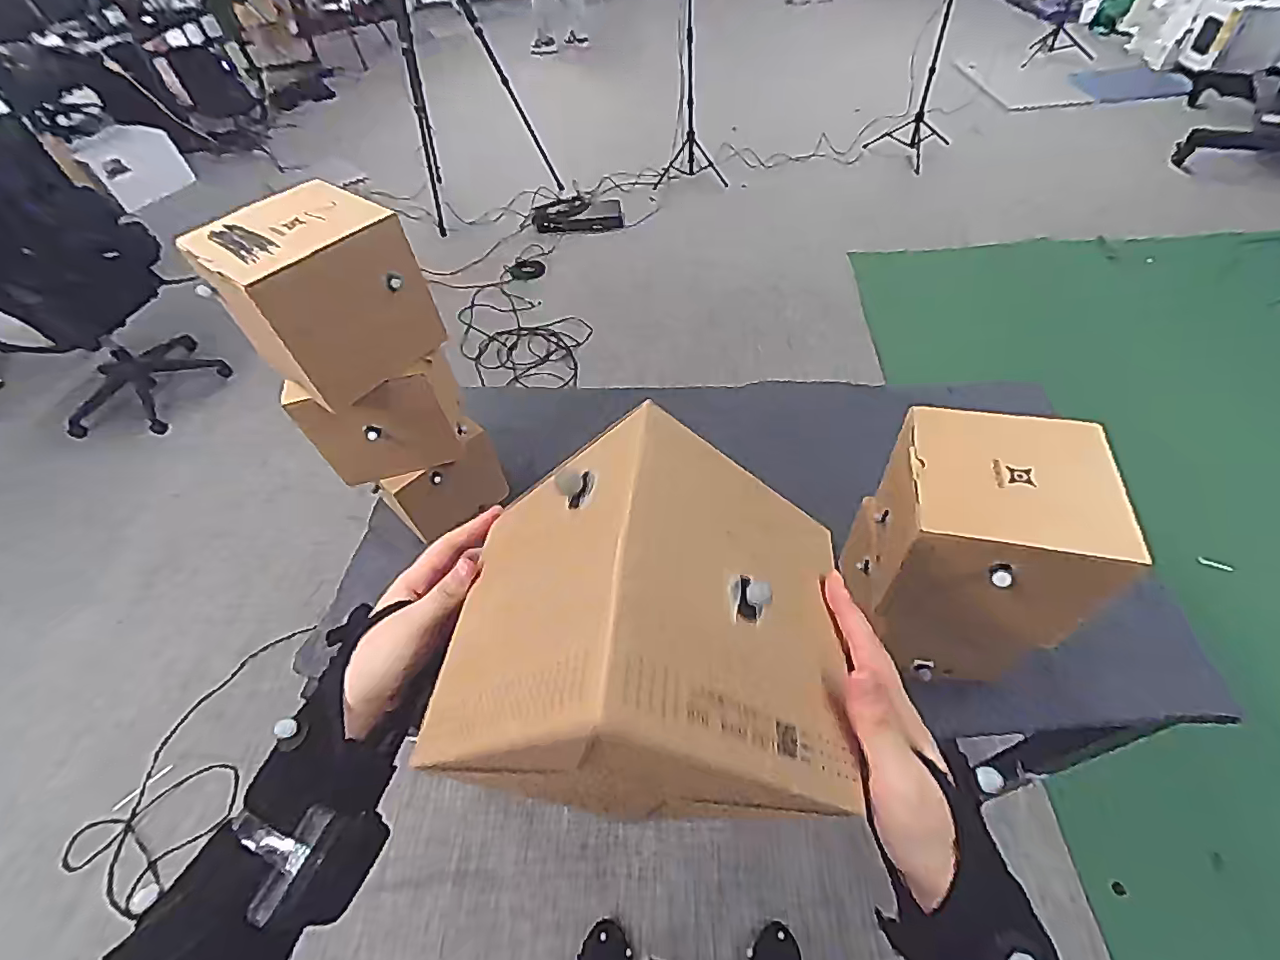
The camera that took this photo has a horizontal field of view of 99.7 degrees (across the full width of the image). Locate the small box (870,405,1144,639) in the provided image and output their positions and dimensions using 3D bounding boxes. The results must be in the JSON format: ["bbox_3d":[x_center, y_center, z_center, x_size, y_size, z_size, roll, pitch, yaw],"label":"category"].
[{"bbox_3d":[0.352,0.047,0.562,0.179,0.176,0.168,8,52,14],"label":"small box"}]

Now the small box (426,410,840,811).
[{"bbox_3d":[-0.001,0.095,0.328,0.179,0.168,0.176,-31,41,42],"label":"small box"}]

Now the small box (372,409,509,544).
[{"bbox_3d":[-0.351,-0.023,0.908,0.179,0.176,0.168,35,63,28],"label":"small box"}]

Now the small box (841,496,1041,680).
[{"bbox_3d":[0.368,0.139,0.696,0.168,0.176,0.179,-1,51,7],"label":"small box"}]

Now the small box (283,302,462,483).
[{"bbox_3d":[-0.366,-0.122,0.777,0.179,0.176,0.168,-15,52,-5],"label":"small box"}]
